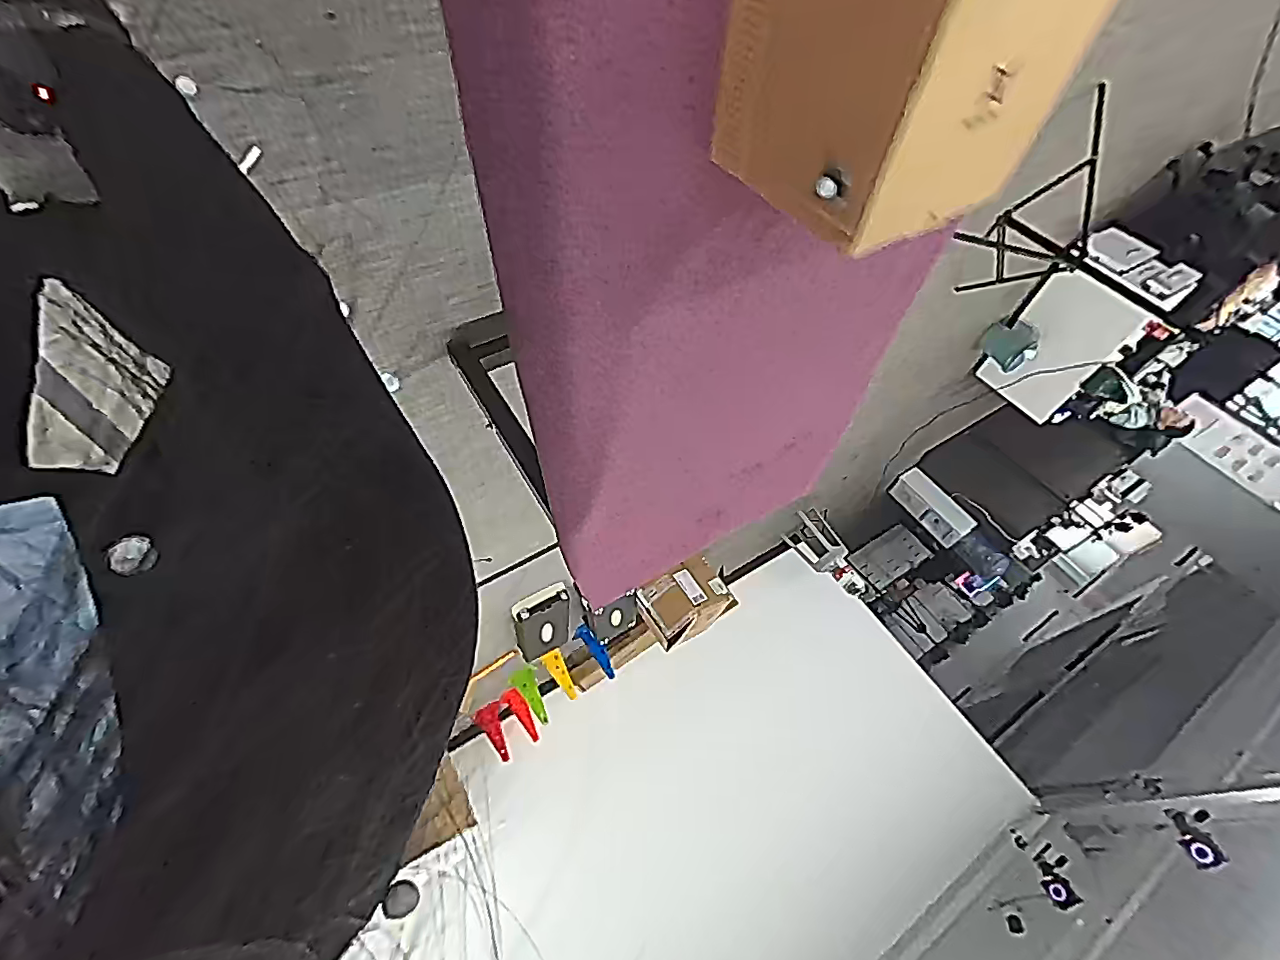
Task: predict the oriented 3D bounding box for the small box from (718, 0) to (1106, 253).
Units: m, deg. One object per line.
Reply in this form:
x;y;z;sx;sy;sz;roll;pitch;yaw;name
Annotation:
0.173;-0.299;0.373;0.168;0.176;0.179;-28;152;-19;small box
